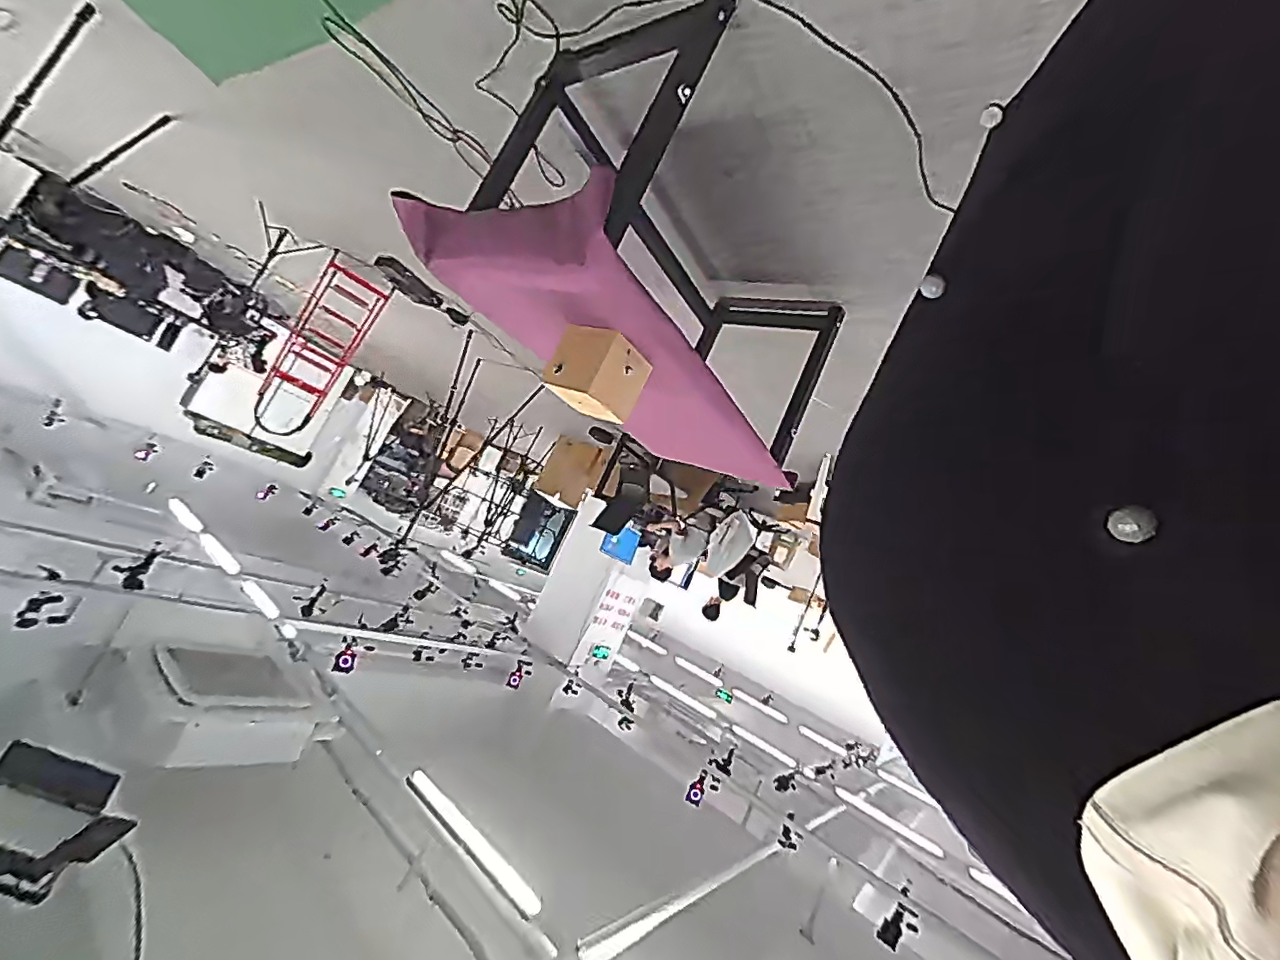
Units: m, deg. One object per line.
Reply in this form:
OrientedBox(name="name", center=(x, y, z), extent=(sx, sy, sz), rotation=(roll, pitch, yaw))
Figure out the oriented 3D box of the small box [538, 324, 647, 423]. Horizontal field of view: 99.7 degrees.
OrientedBox(name="small box", center=(-0.113, -0.267, 1.340), extent=(0.179, 0.176, 0.168), rotation=(20, 171, 37))
